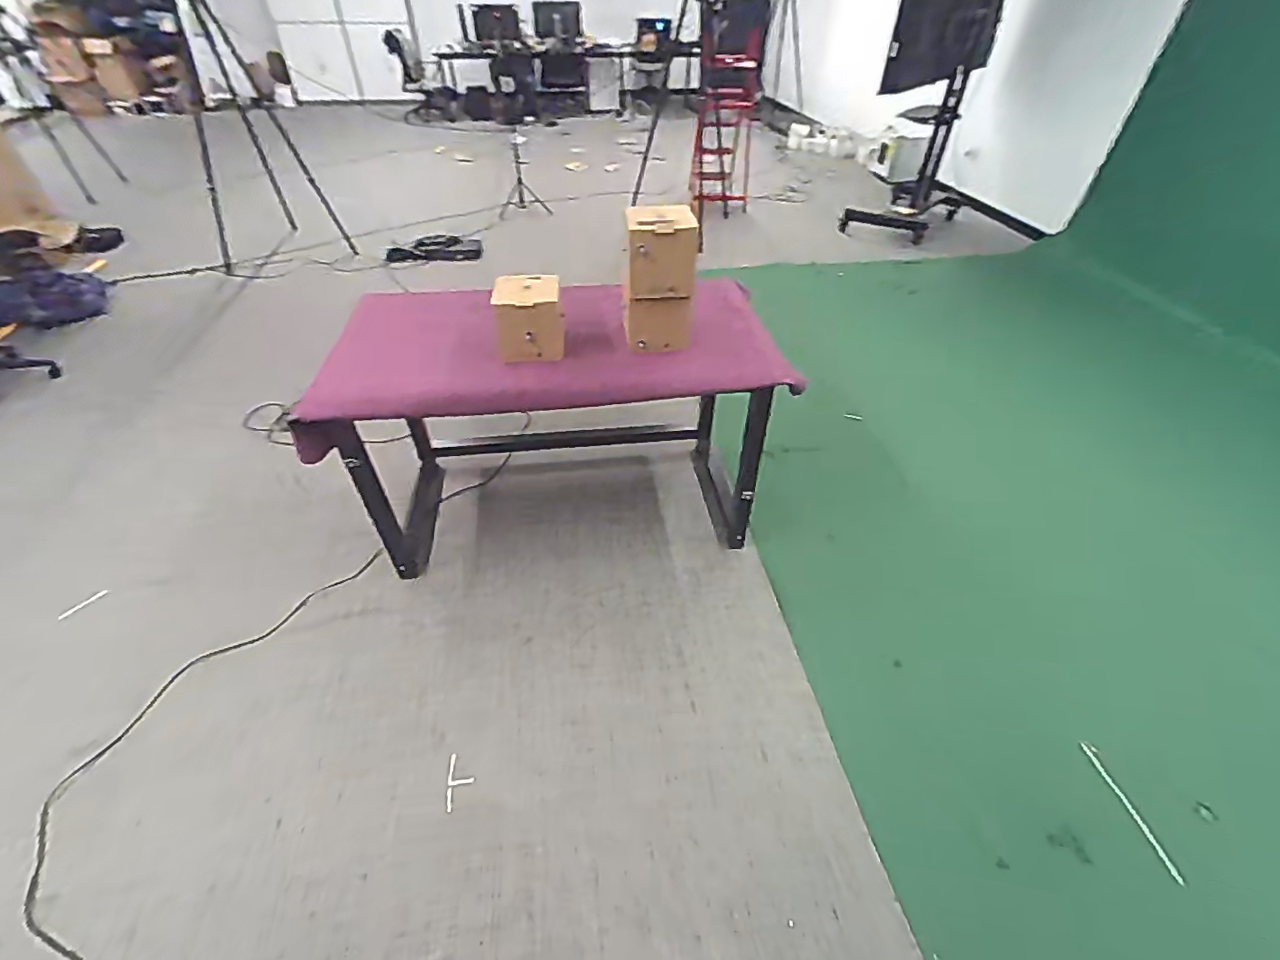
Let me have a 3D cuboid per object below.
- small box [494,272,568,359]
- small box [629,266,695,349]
[{"bbox_3d":[-0.283,-0.437,1.446,0.168,0.176,0.179,-2,44,-3],"label":"small box"},{"bbox_3d":[0.055,-0.471,1.482,0.168,0.176,0.179,-1,44,-4],"label":"small box"}]
